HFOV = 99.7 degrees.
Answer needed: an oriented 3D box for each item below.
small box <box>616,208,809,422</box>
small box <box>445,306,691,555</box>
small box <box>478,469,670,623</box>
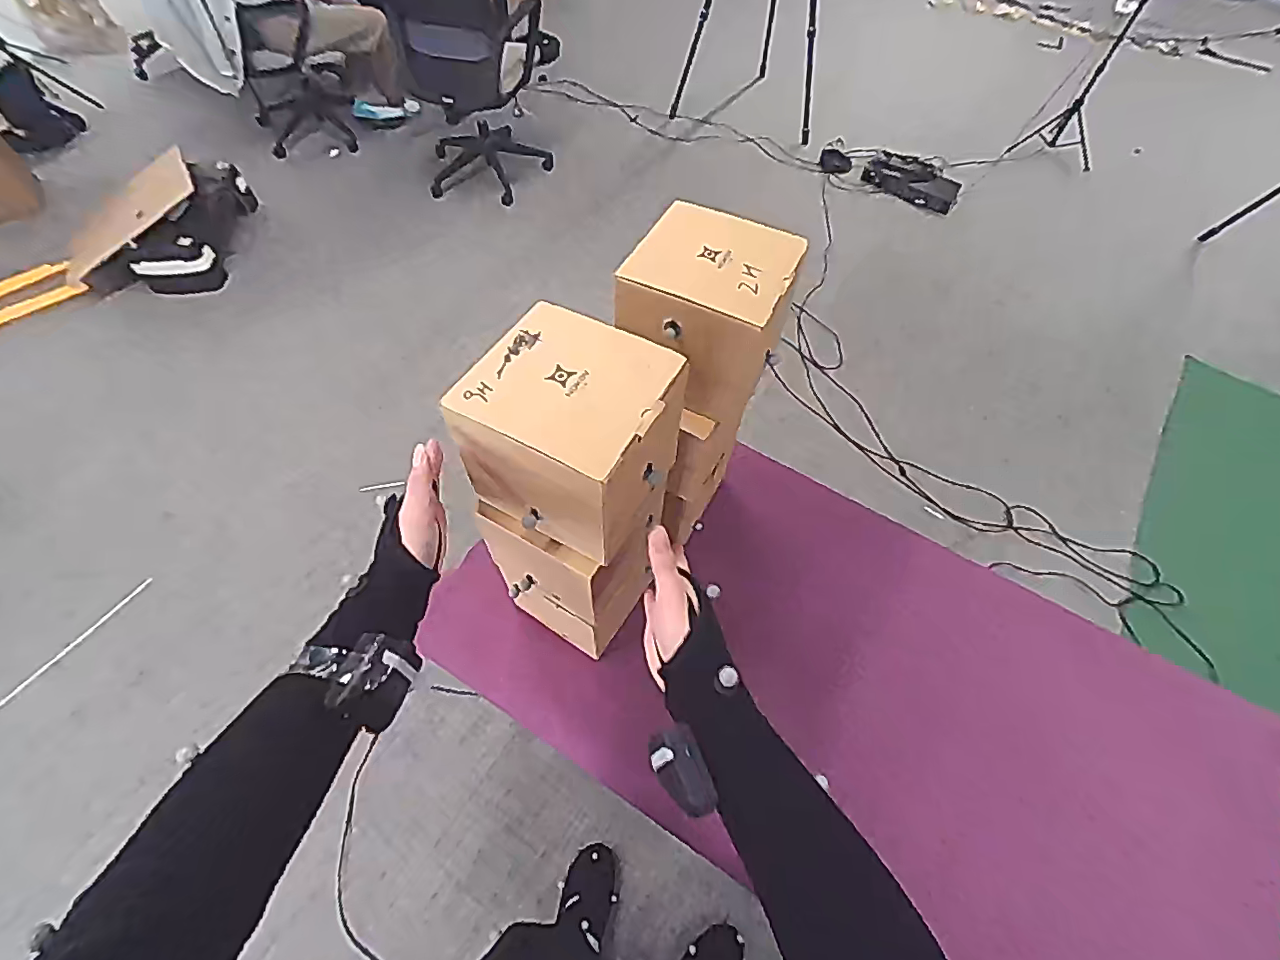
[{"bbox_3d":[0.083,-0.200,0.677,0.179,0.176,0.168,24,61,12],"label":"small box"},{"bbox_3d":[-0.067,-0.044,0.572,0.179,0.176,0.168,26,59,13],"label":"small box"},{"bbox_3d":[-0.079,0.054,0.704,0.168,0.176,0.179,27,61,15],"label":"small box"}]
